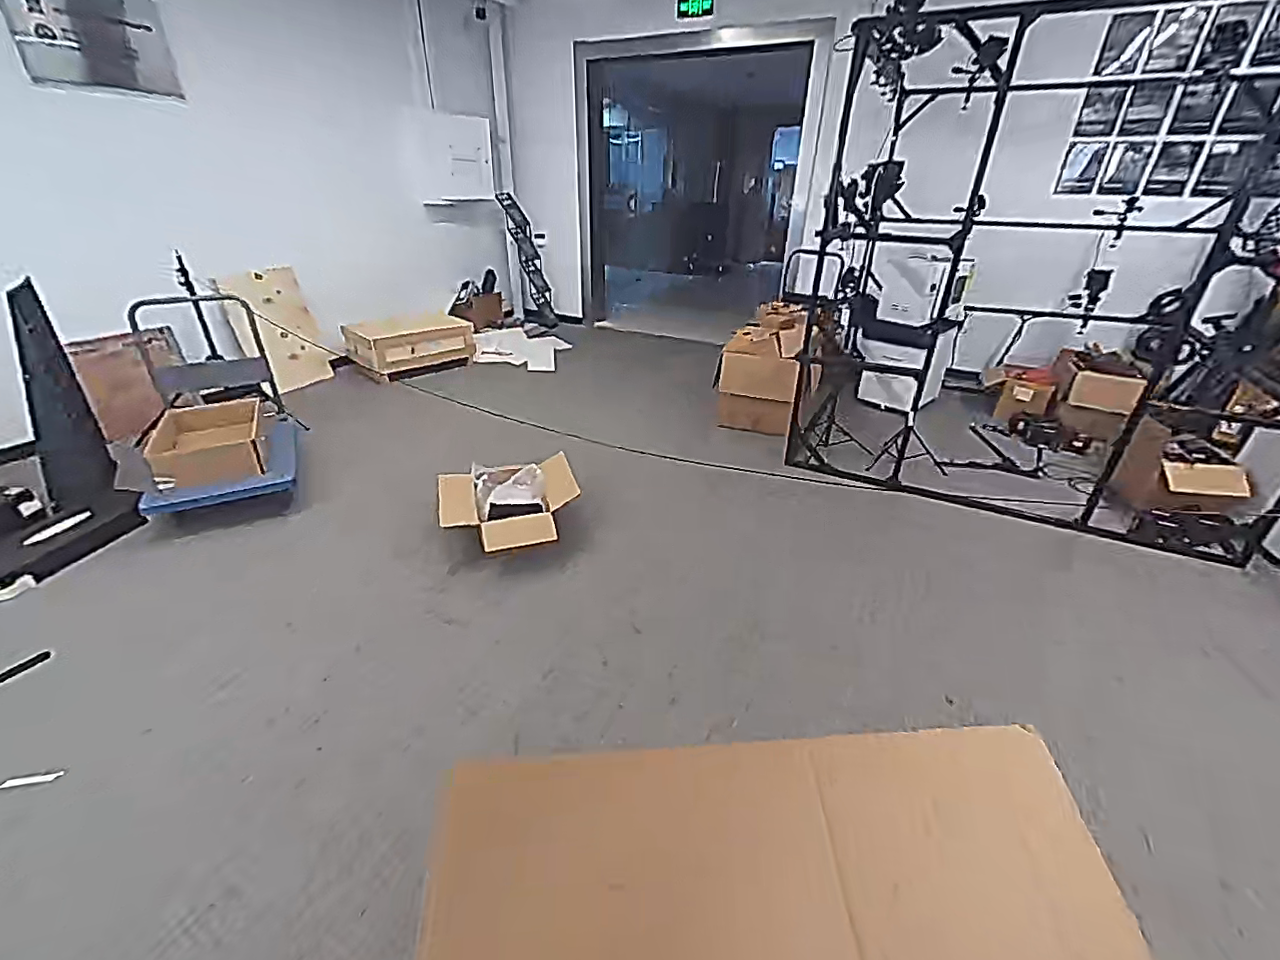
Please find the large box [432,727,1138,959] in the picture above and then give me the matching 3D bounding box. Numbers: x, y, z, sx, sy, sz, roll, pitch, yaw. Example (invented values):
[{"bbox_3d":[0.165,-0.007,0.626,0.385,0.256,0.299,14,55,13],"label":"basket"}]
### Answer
[{"bbox_3d":[0.080,0.397,0.392,0.408,0.320,0.320,-2,52,-4],"label":"large box"}]
